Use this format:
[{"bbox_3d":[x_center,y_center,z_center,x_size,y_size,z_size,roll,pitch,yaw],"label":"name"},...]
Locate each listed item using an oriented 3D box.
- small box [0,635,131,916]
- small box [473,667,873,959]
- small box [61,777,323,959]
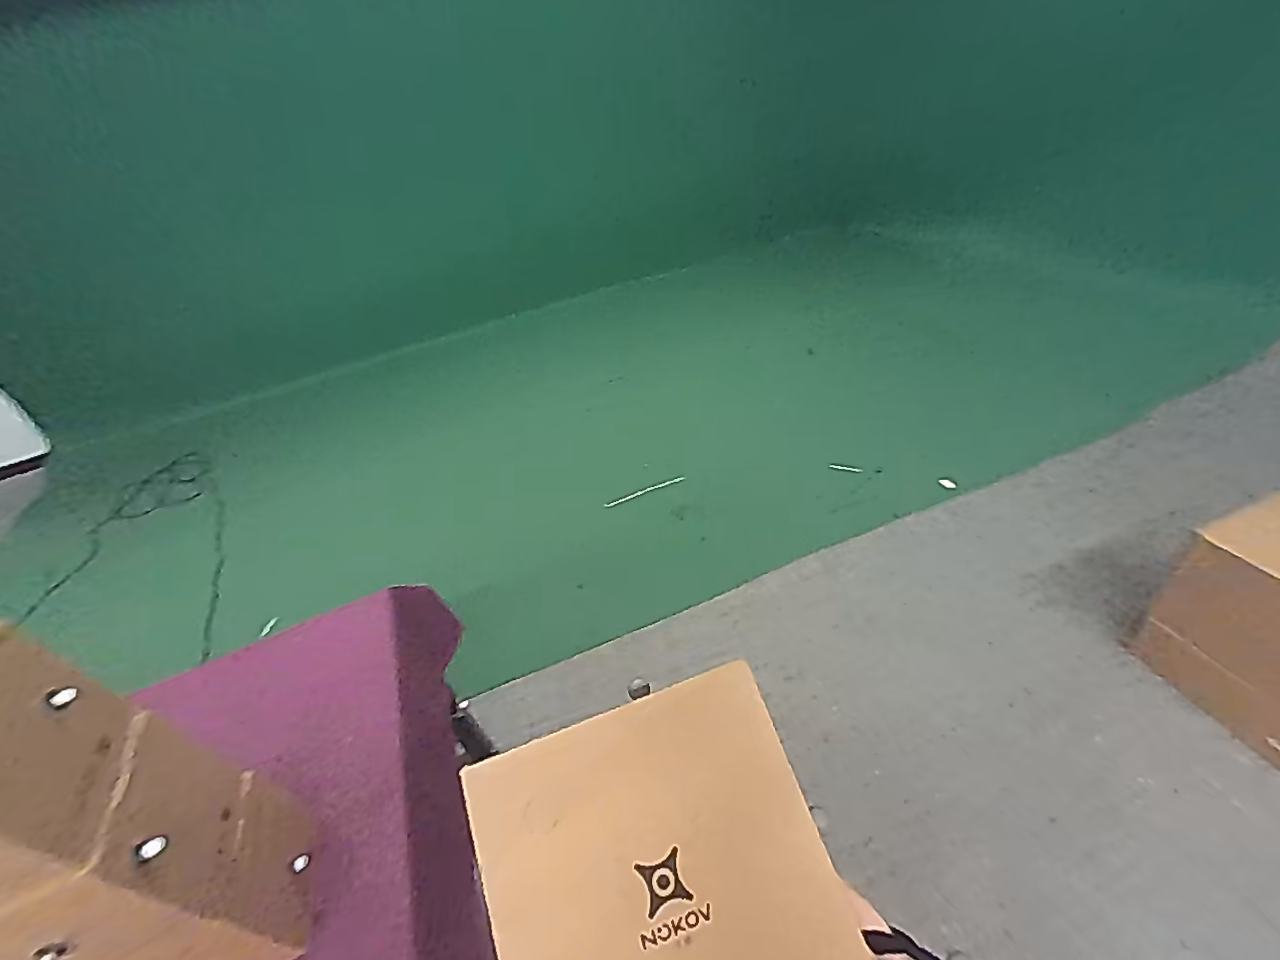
[{"bbox_3d":[-0.597,0.269,0.452,0.179,0.176,0.168,-25,40,-11],"label":"small box"},{"bbox_3d":[0.013,0.236,0.333,0.168,0.176,0.179,-18,68,-9],"label":"small box"},{"bbox_3d":[-0.528,0.512,0.661,0.179,0.176,0.168,-22,40,-10],"label":"small box"}]
